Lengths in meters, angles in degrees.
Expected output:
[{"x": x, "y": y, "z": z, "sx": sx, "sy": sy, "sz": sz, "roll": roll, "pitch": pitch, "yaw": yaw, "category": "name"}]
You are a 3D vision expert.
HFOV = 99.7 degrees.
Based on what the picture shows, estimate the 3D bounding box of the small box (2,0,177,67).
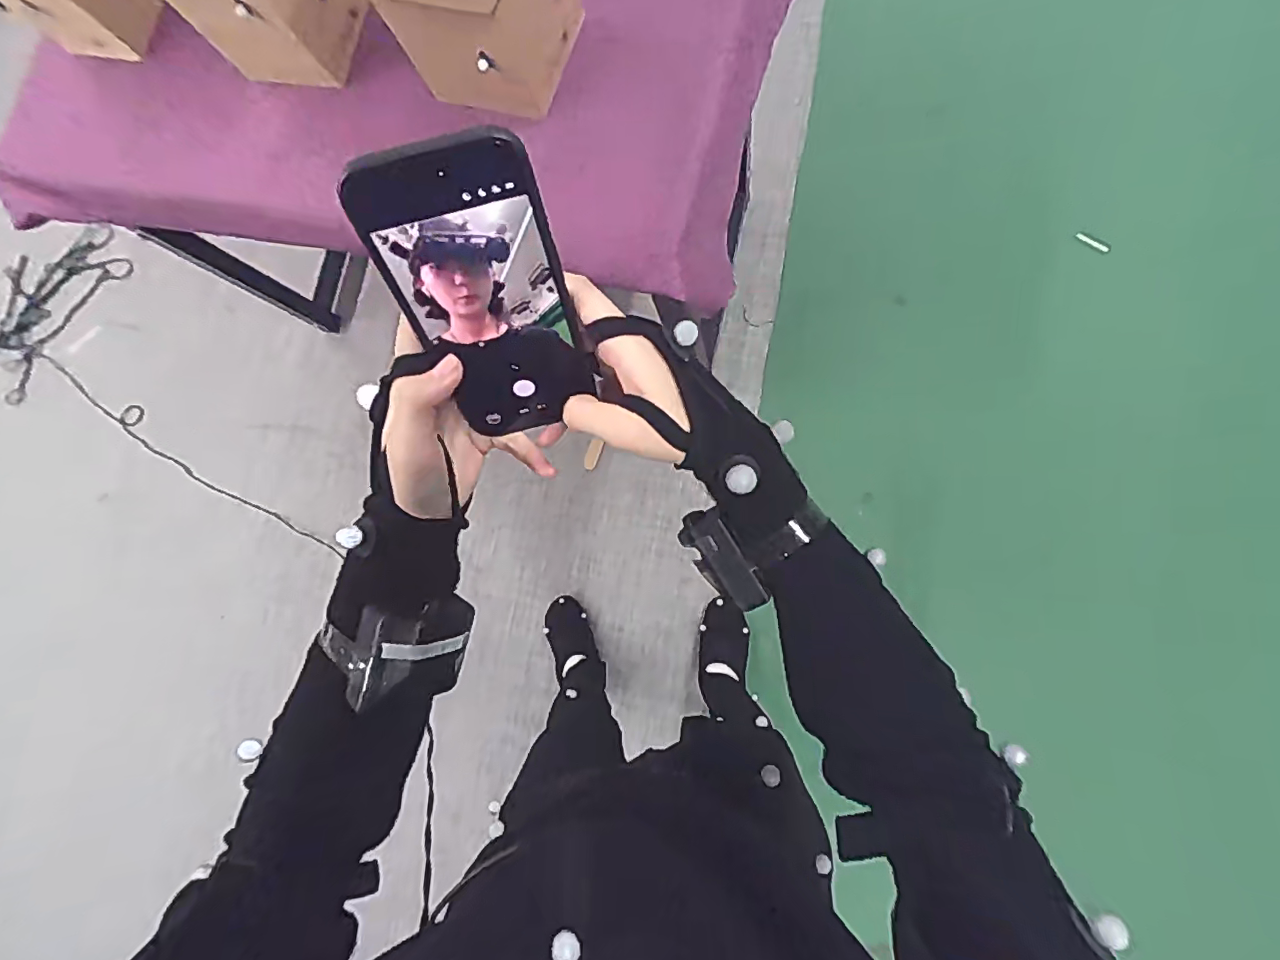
[{"x": -0.879, "y": -0.794, "z": 0.847, "sx": 0.168, "sy": 0.176, "sz": 0.179, "roll": 14, "pitch": 84, "yaw": 12, "category": "small box"}]

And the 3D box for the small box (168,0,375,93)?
[{"x": -0.513, "y": -0.686, "z": 0.760, "sx": 0.179, "sy": 0.176, "sz": 0.168, "roll": 13, "pitch": 84, "yaw": 12, "category": "small box"}]

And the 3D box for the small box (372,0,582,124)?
[{"x": -0.193, "y": -0.595, "z": 0.687, "sx": 0.179, "sy": 0.176, "sz": 0.168, "roll": 20, "pitch": 85, "yaw": 13, "category": "small box"}]
